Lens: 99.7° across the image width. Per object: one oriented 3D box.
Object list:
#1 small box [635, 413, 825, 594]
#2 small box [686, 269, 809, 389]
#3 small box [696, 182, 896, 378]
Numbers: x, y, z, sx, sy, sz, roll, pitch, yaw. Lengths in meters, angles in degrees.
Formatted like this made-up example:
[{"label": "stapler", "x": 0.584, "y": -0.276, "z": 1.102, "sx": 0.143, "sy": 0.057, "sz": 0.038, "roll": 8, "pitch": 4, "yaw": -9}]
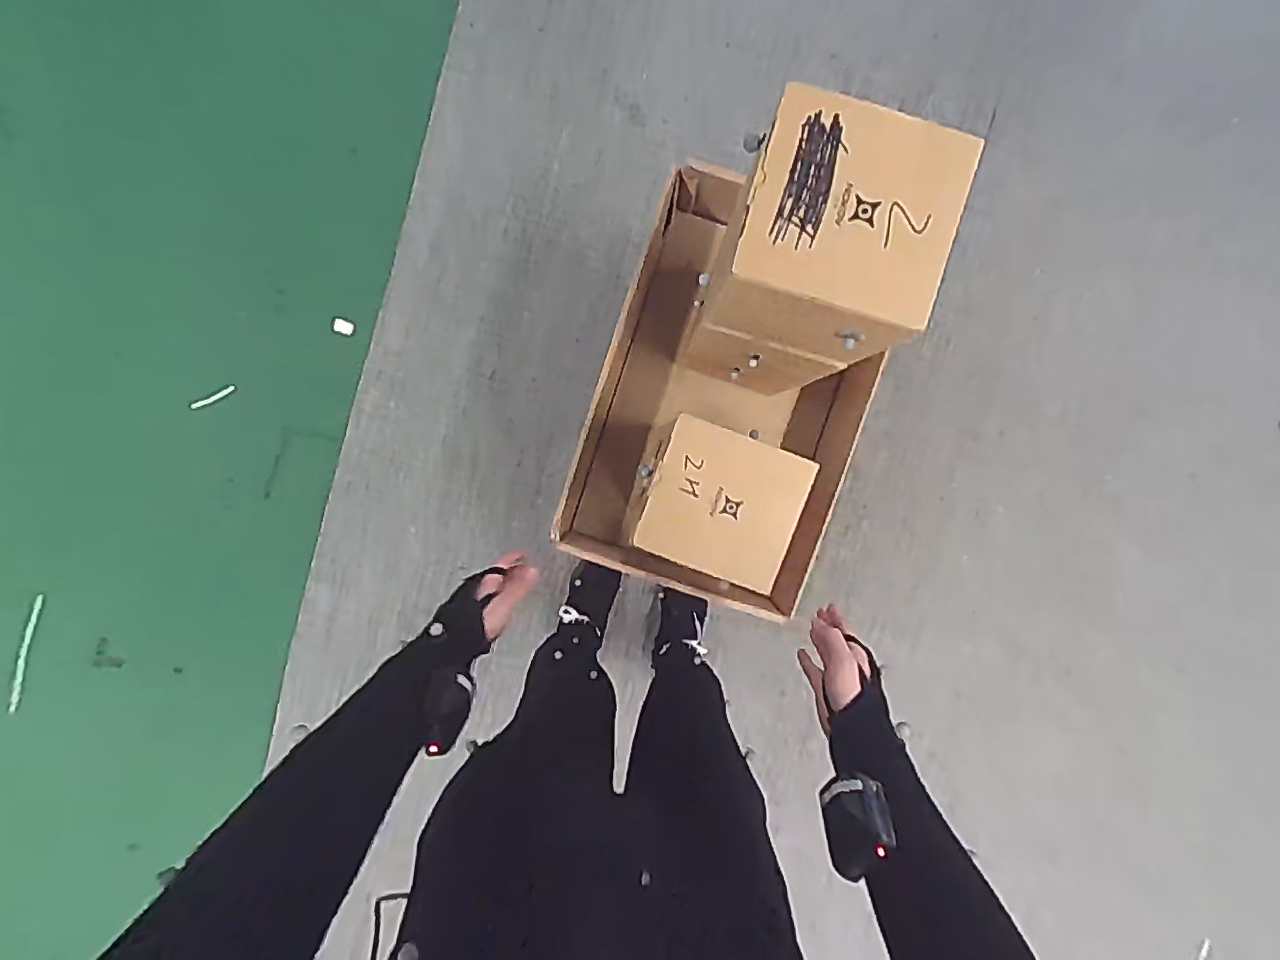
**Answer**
[{"label": "small box", "x": 0.103, "y": 0.023, "z": 0.697, "sx": 0.179, "sy": 0.176, "sz": 0.168, "roll": 21, "pitch": 92, "yaw": -1}, {"label": "small box", "x": 0.184, "y": -0.248, "z": 0.851, "sx": 0.179, "sy": 0.176, "sz": 0.168, "roll": 18, "pitch": 93, "yaw": -1}, {"label": "small box", "x": 0.182, "y": -0.236, "z": 0.687, "sx": 0.179, "sy": 0.176, "sz": 0.168, "roll": 17, "pitch": 93, "yaw": 0}]
